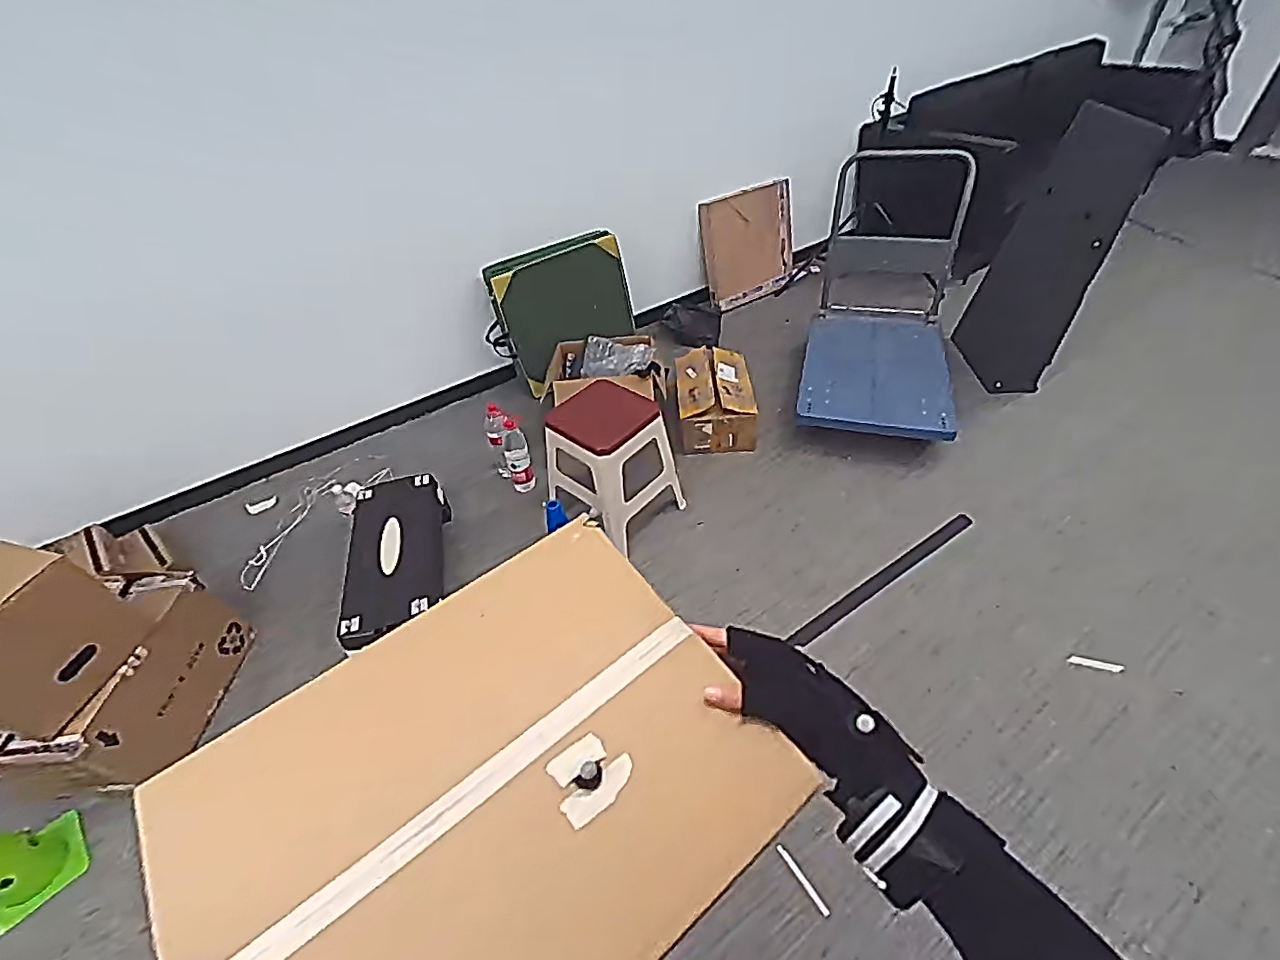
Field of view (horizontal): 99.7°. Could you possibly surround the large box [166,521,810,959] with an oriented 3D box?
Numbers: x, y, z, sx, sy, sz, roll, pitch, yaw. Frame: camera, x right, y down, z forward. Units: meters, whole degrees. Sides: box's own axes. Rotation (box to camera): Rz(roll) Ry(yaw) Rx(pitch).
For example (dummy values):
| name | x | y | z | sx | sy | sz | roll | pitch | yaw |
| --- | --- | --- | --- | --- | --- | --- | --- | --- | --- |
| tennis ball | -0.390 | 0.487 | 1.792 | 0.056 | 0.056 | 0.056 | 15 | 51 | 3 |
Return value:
| name | x | y | z | sx | sy | sz | roll | pitch | yaw |
| --- | --- | --- | --- | --- | --- | --- | --- | --- | --- |
| large box | -0.113 | 0.323 | 0.526 | 0.408 | 0.320 | 0.320 | -31 | 58 | -23 |
